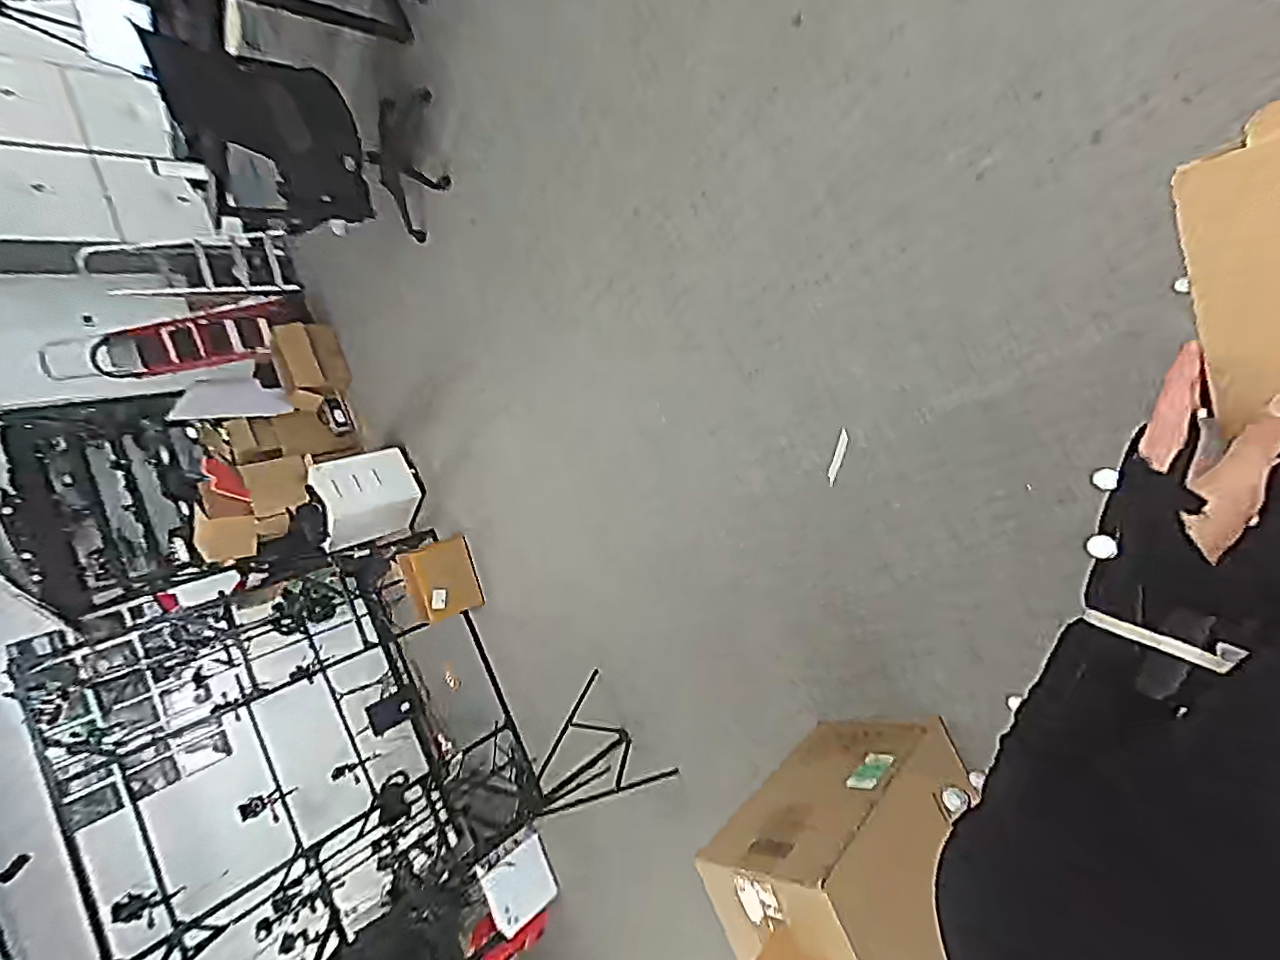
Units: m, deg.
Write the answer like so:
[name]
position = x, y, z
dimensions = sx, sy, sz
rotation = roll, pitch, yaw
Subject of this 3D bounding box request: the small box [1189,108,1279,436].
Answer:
[small box]
position = 0.441, -0.141, 0.297
dimensions = 0.168, 0.176, 0.179
rotation = -6, 109, 55
